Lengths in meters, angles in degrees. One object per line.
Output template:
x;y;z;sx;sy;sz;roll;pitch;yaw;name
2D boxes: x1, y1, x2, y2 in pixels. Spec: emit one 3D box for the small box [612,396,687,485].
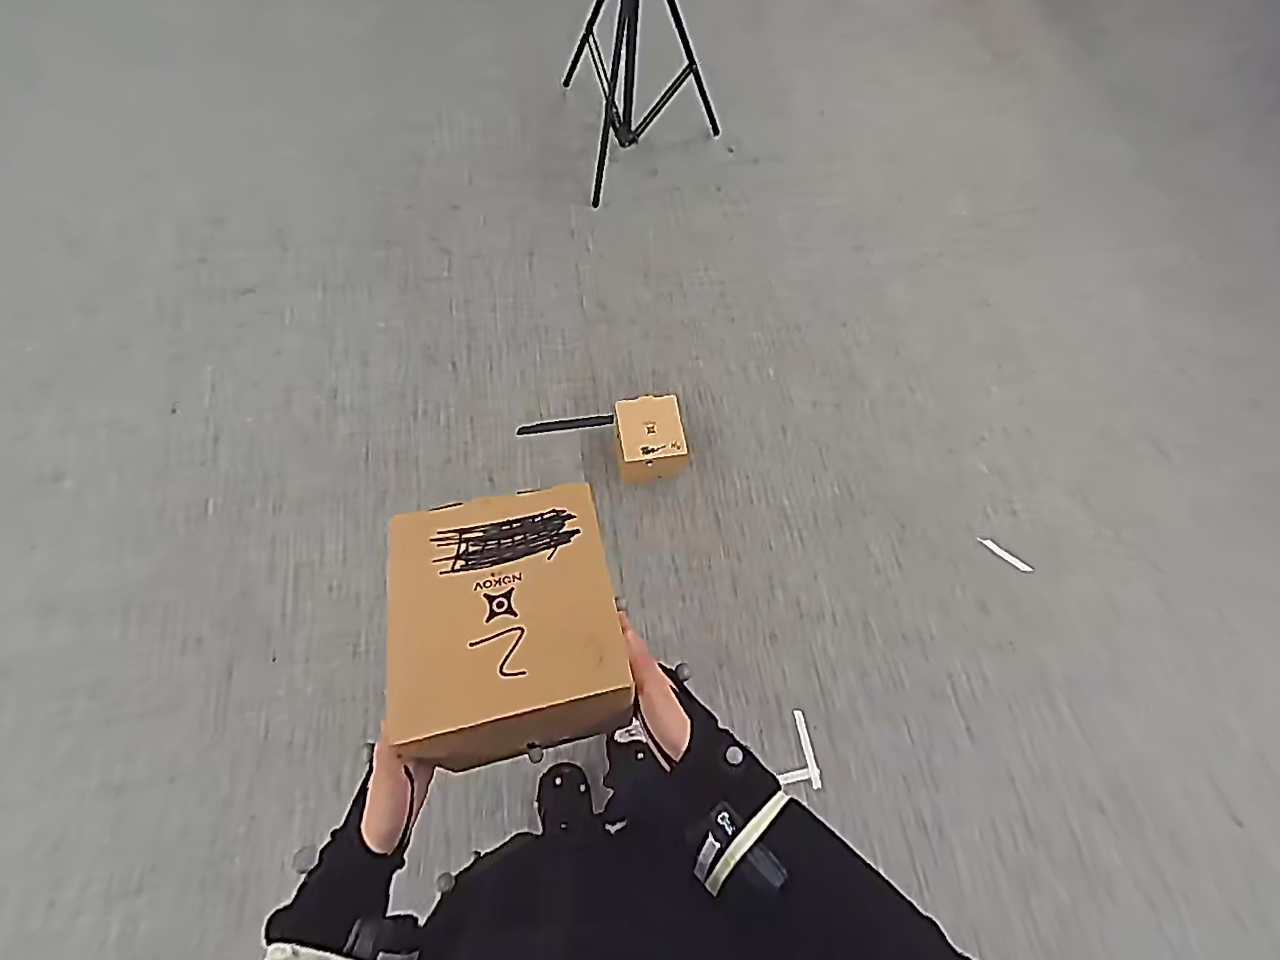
0.019;-0.104;1.469;0.168;0.176;0.179;-8;69;-8;small box
